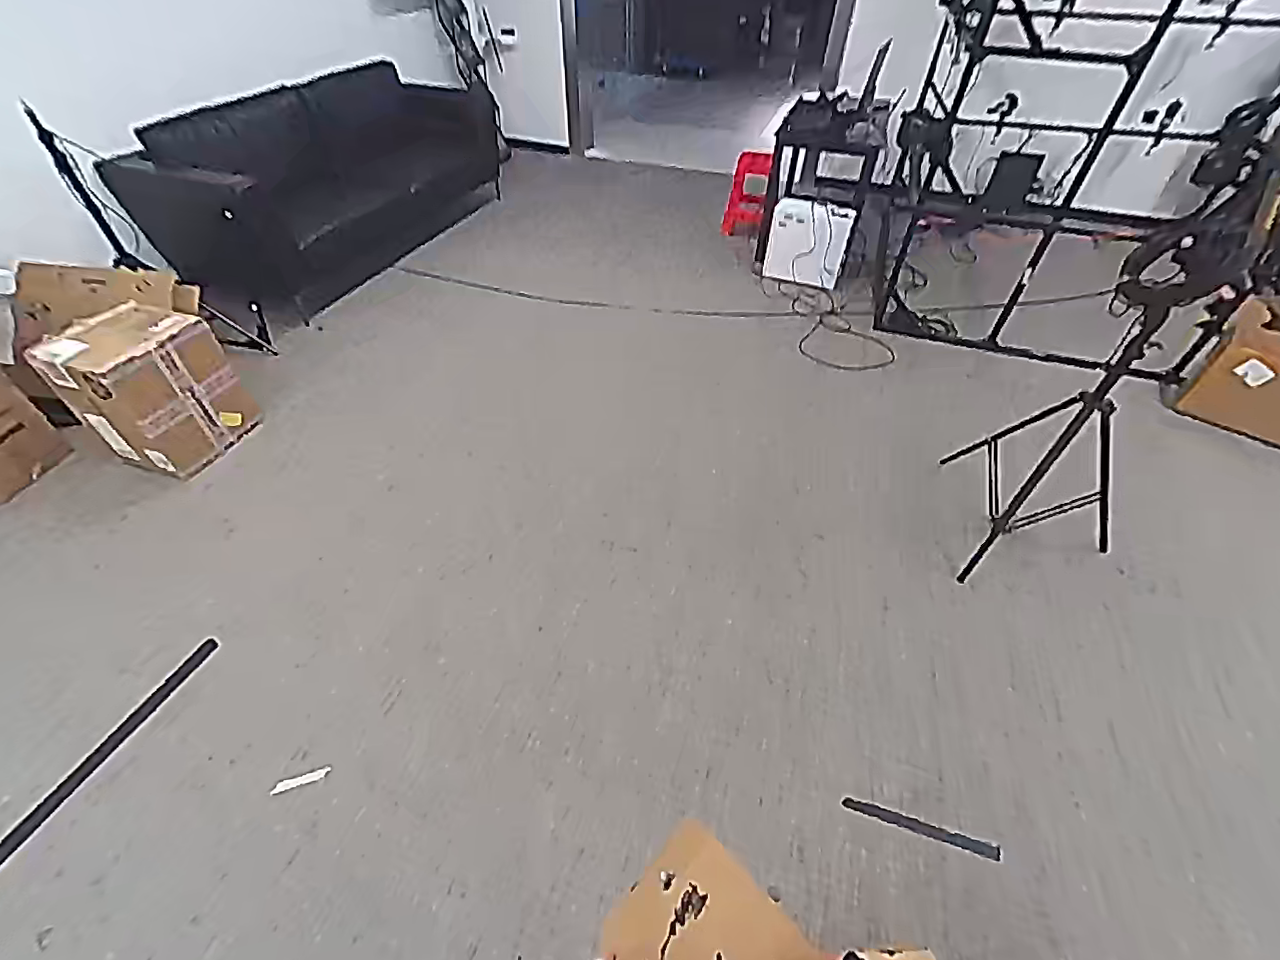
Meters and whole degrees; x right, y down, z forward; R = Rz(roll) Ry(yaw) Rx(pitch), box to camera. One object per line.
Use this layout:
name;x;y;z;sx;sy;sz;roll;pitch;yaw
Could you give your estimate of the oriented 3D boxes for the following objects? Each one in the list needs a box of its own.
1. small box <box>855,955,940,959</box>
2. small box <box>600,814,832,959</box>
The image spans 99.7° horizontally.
small box;0.478;1.010;1.006;0.168;0.176;0.179;0;45;0
small box;0.074;0.497;0.579;0.179;0.176;0.168;43;69;14
